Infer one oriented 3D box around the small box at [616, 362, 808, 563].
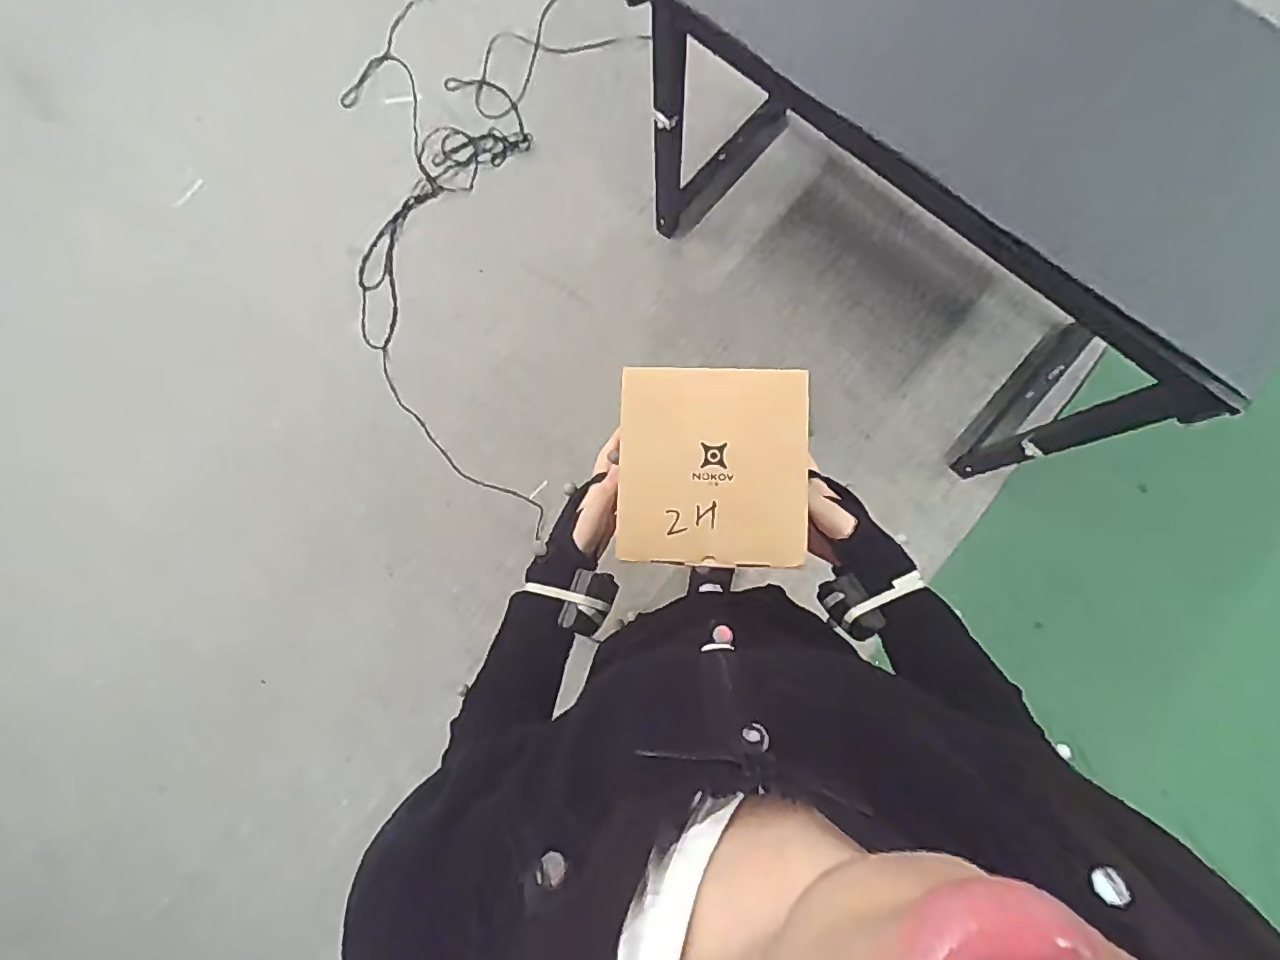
[{"bbox_3d":[0.068,-0.009,0.554,0.168,0.176,0.179,2,85,4],"label":"small box"}]
